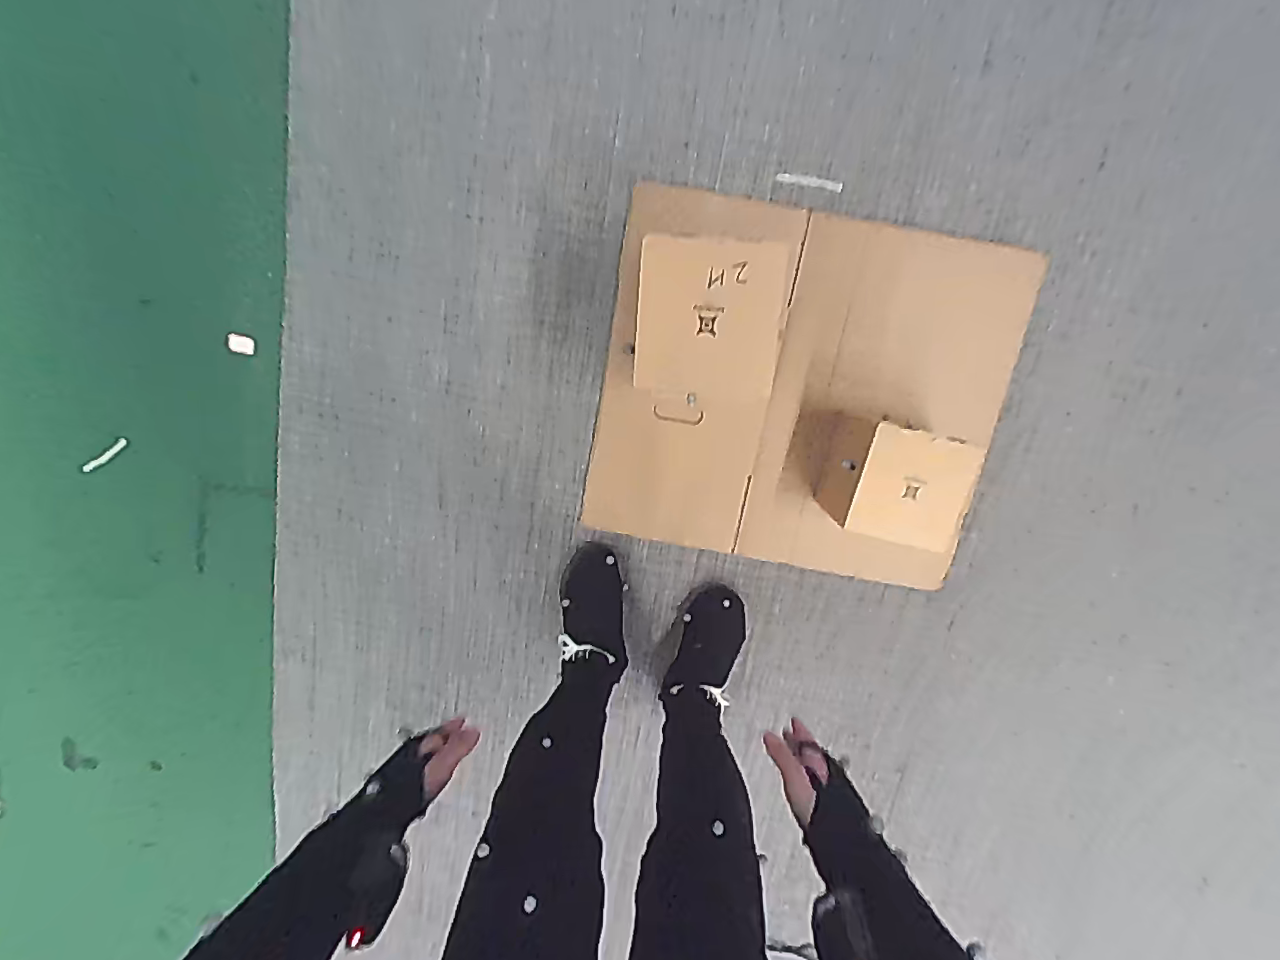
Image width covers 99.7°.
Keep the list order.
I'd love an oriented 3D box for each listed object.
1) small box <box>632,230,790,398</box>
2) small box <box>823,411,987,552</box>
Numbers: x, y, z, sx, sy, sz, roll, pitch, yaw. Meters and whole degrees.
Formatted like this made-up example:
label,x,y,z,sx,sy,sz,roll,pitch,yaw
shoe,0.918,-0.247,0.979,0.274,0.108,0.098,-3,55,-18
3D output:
label,x,y,z,sx,sy,sz,roll,pitch,yaw
small box,0.082,-0.204,0.696,0.168,0.176,0.179,4,102,1
small box,0.417,-0.006,0.888,0.168,0.176,0.179,13,102,0
